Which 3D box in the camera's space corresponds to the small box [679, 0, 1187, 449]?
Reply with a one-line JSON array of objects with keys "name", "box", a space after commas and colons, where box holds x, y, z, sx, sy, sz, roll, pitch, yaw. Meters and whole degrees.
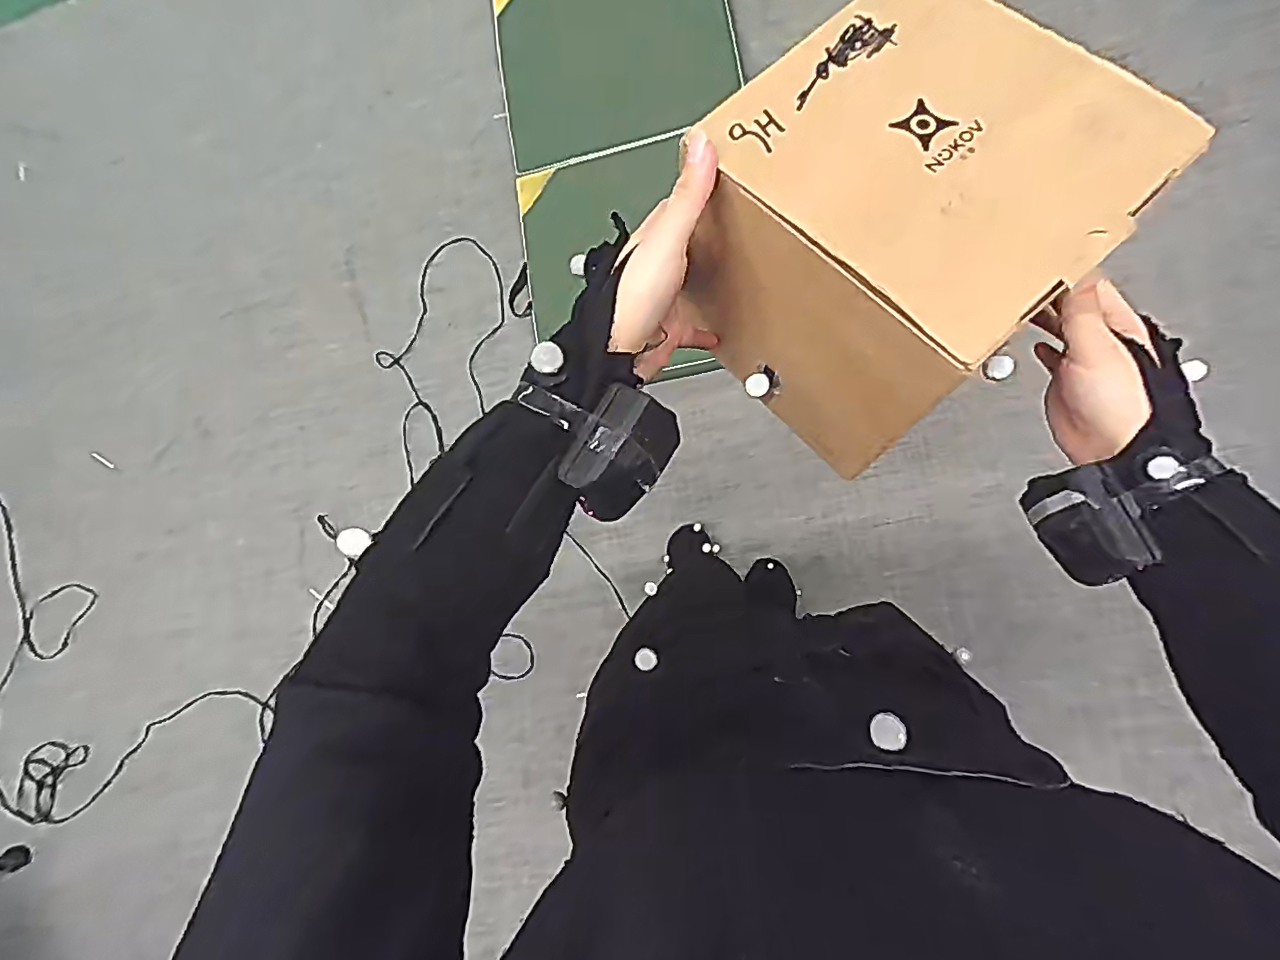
[{"name": "small box", "box": [0.140, -0.139, 0.334, 0.168, 0.176, 0.179, -41, 76, -9]}]
